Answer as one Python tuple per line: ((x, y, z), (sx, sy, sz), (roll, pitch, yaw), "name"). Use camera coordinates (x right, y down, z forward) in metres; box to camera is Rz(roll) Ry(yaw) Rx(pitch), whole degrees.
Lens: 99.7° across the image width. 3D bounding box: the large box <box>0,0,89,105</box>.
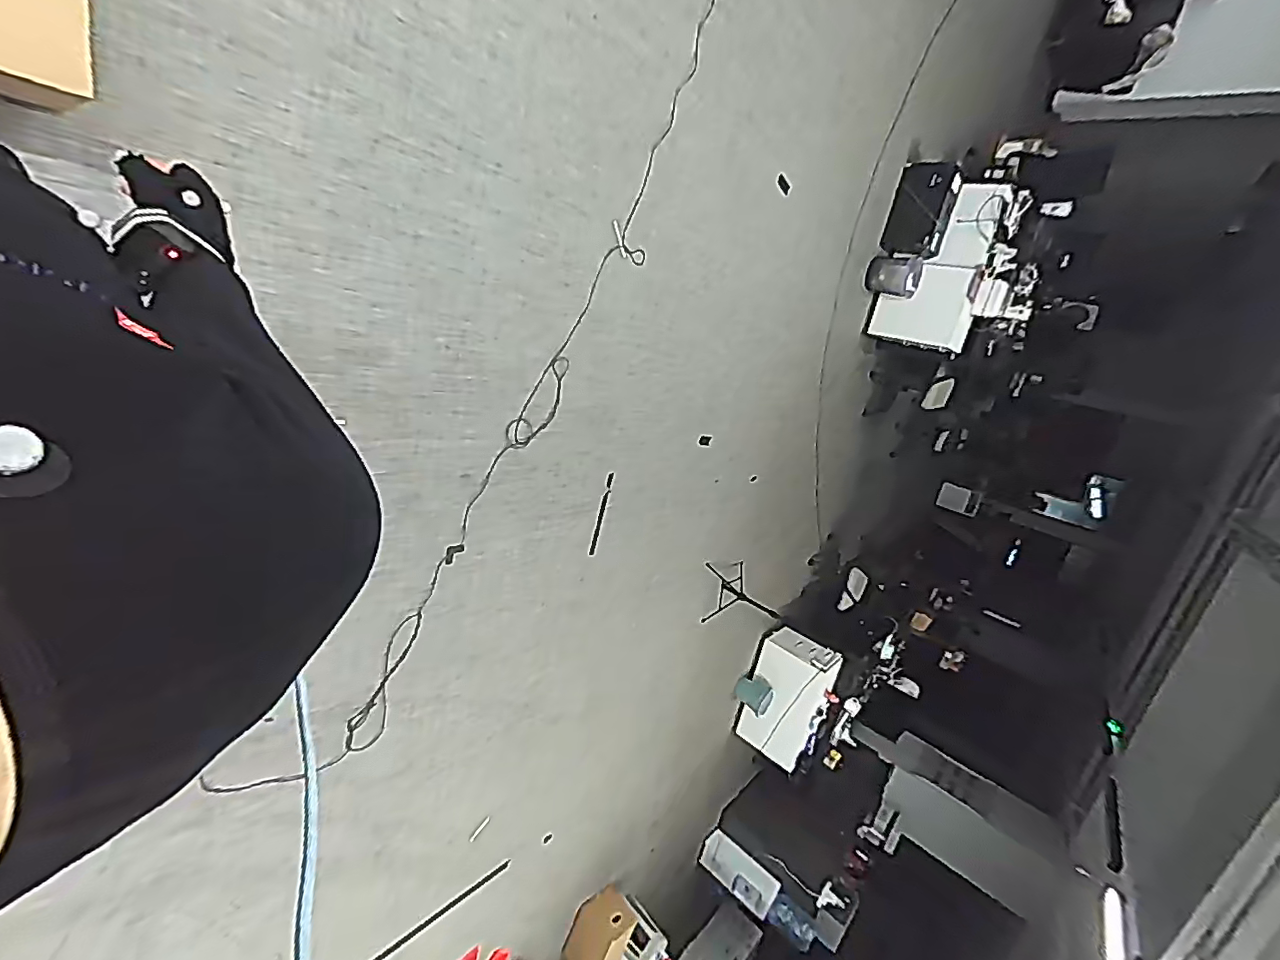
((-0.988, -0.715, 0.652), (0.408, 0.320, 0.320), (-9, 117, -51), "large box")
